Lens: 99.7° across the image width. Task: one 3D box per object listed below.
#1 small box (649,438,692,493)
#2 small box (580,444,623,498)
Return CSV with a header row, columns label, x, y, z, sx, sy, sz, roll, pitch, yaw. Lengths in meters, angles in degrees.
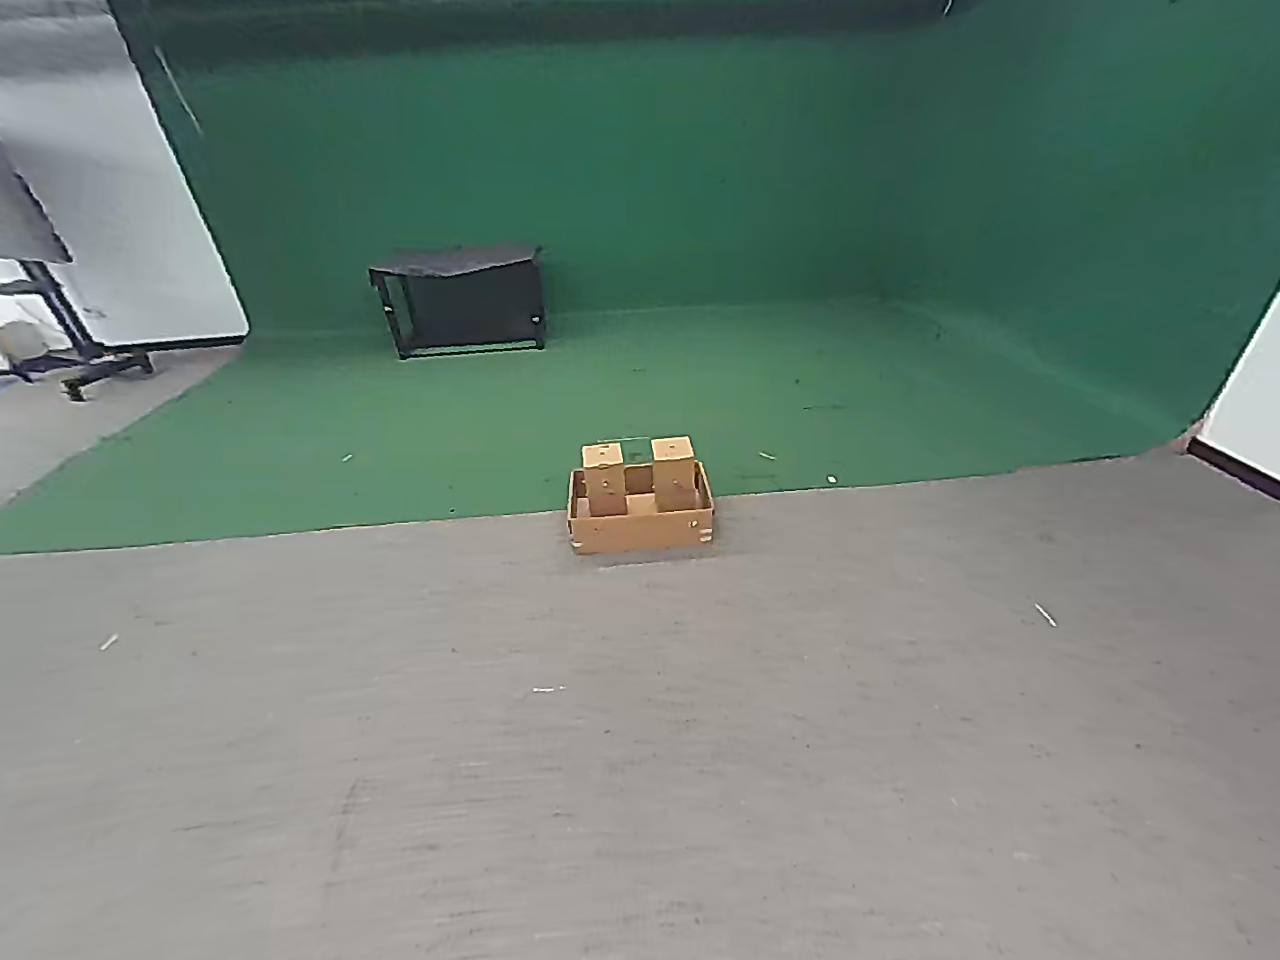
label,x,y,z,sx,sy,sz,roll,pitch,yaw
small box,0.130,-0.063,2.335,0.168,0.176,0.179,-5,35,-1
small box,-0.166,-0.033,2.317,0.168,0.176,0.179,-6,35,-4
